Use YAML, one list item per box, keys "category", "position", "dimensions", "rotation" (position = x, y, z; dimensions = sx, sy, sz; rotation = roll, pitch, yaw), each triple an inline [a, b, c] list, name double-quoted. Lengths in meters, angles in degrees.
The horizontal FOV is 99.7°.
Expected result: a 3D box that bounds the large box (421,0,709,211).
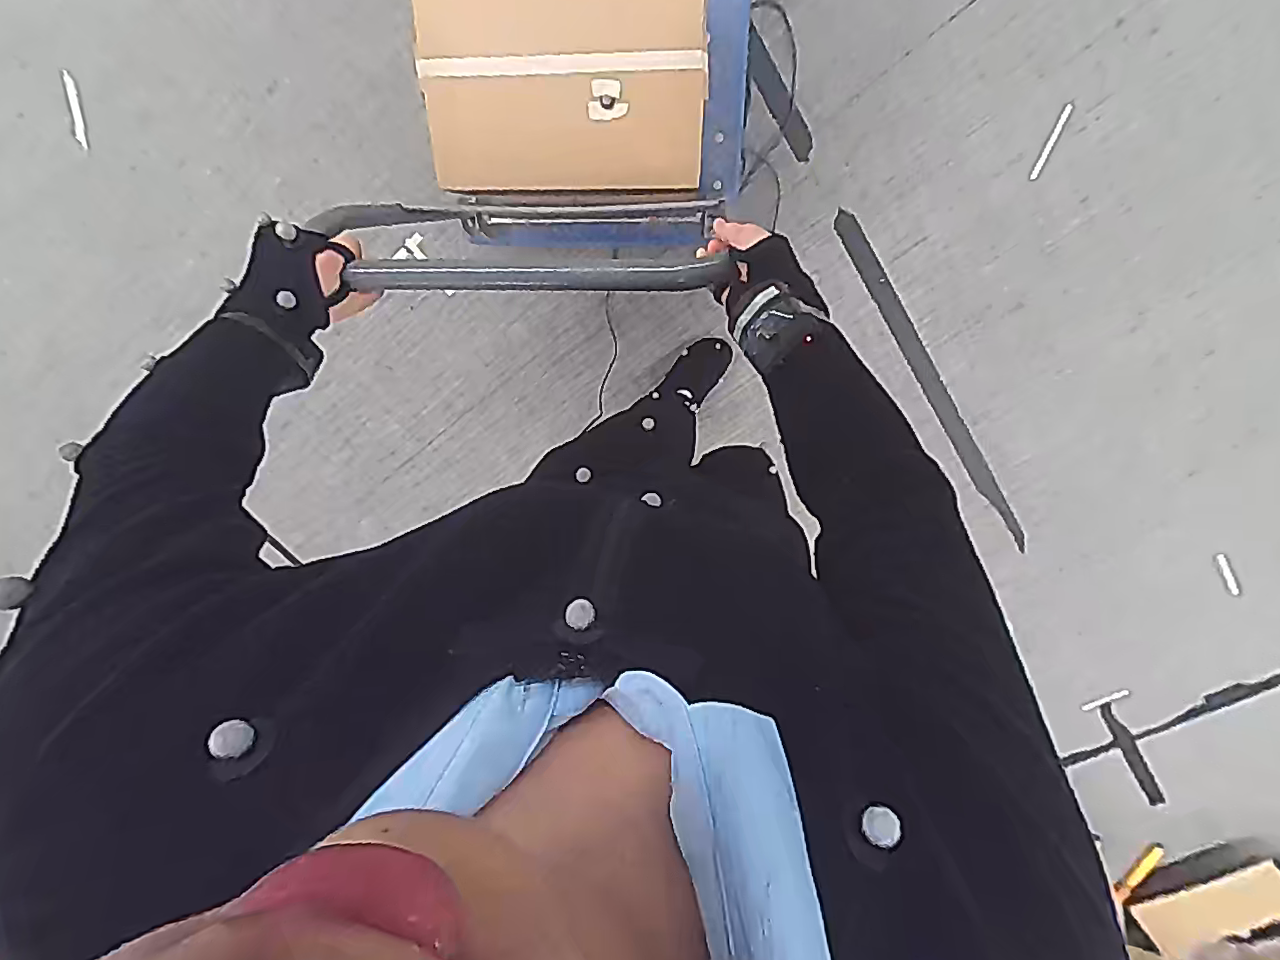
- category: "large box"
  position: [-0.097, -0.639, 0.908]
  dimensions: [0.408, 0.320, 0.320]
  rotation: [1, 114, 3]
